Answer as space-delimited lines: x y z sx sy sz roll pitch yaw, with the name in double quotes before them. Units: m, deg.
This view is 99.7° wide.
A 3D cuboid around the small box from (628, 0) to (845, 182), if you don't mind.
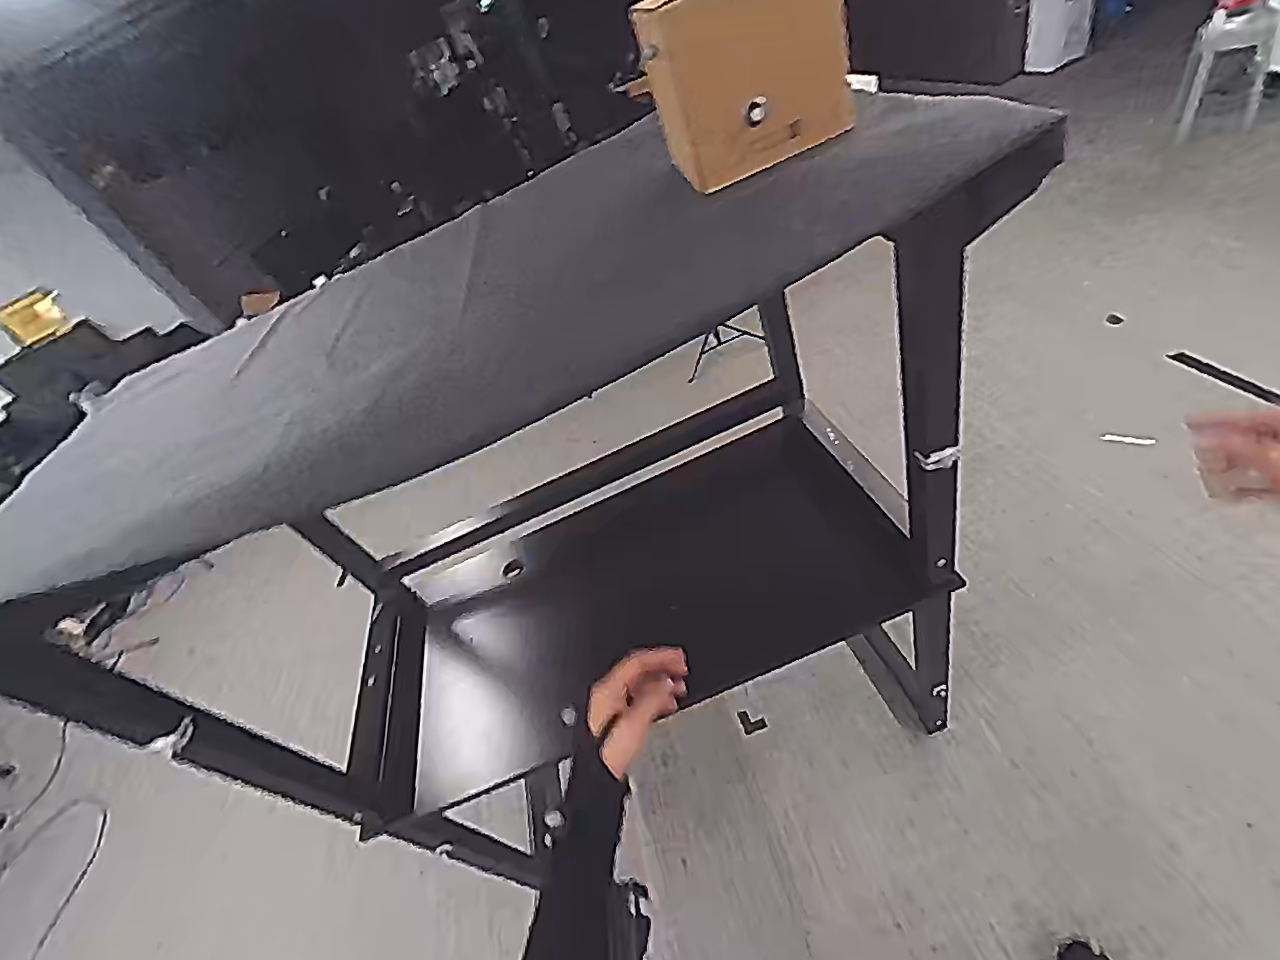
"small box" 0.100 -0.447 0.577 0.168 0.176 0.179 -22 41 8
